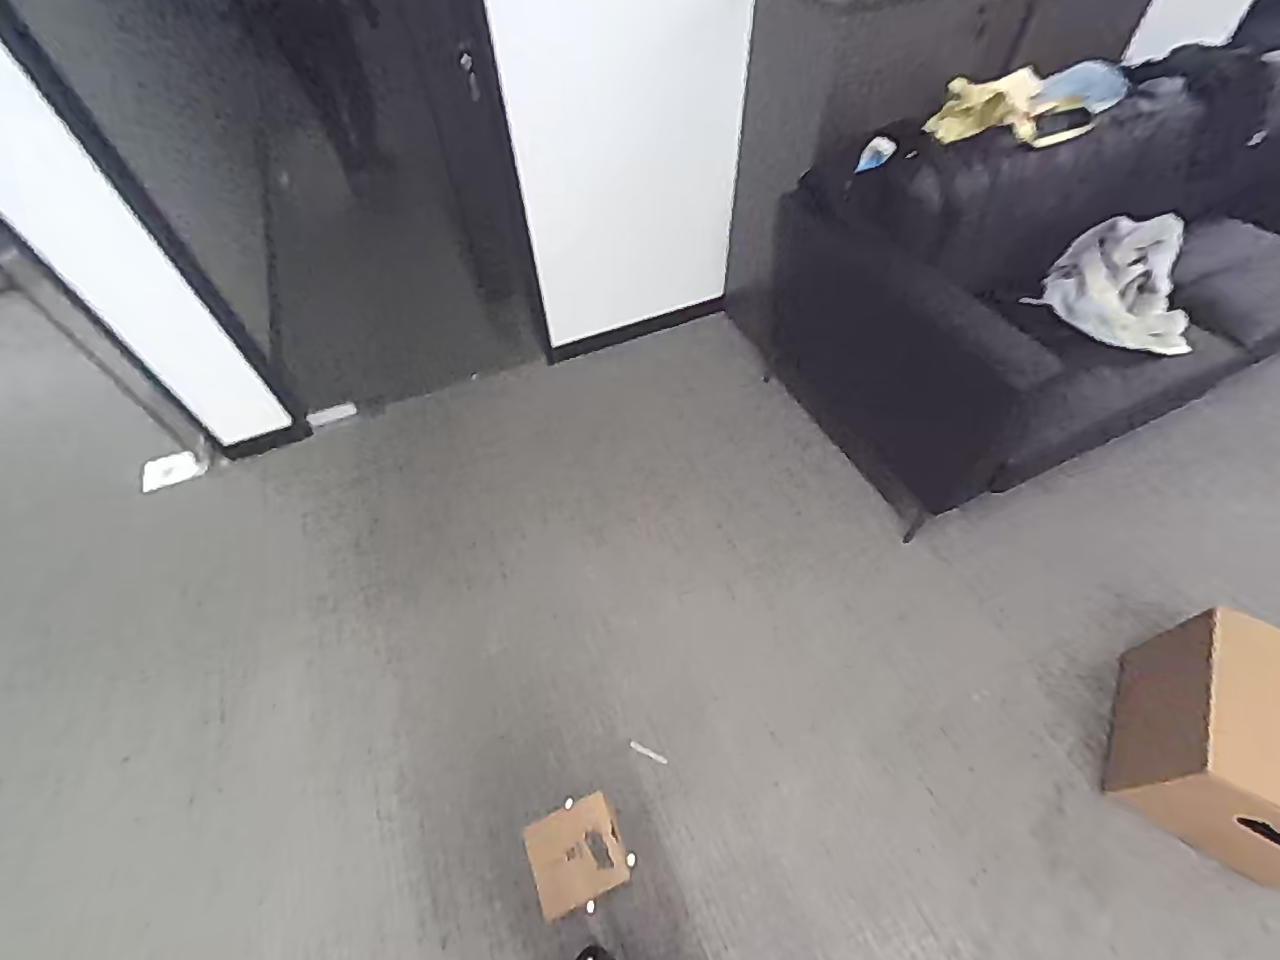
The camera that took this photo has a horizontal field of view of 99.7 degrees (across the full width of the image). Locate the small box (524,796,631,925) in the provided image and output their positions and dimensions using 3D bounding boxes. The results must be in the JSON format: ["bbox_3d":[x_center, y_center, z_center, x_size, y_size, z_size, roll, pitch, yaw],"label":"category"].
[{"bbox_3d":[-0.127,0.798,1.142,0.179,0.176,0.168,-20,54,-13],"label":"small box"}]
